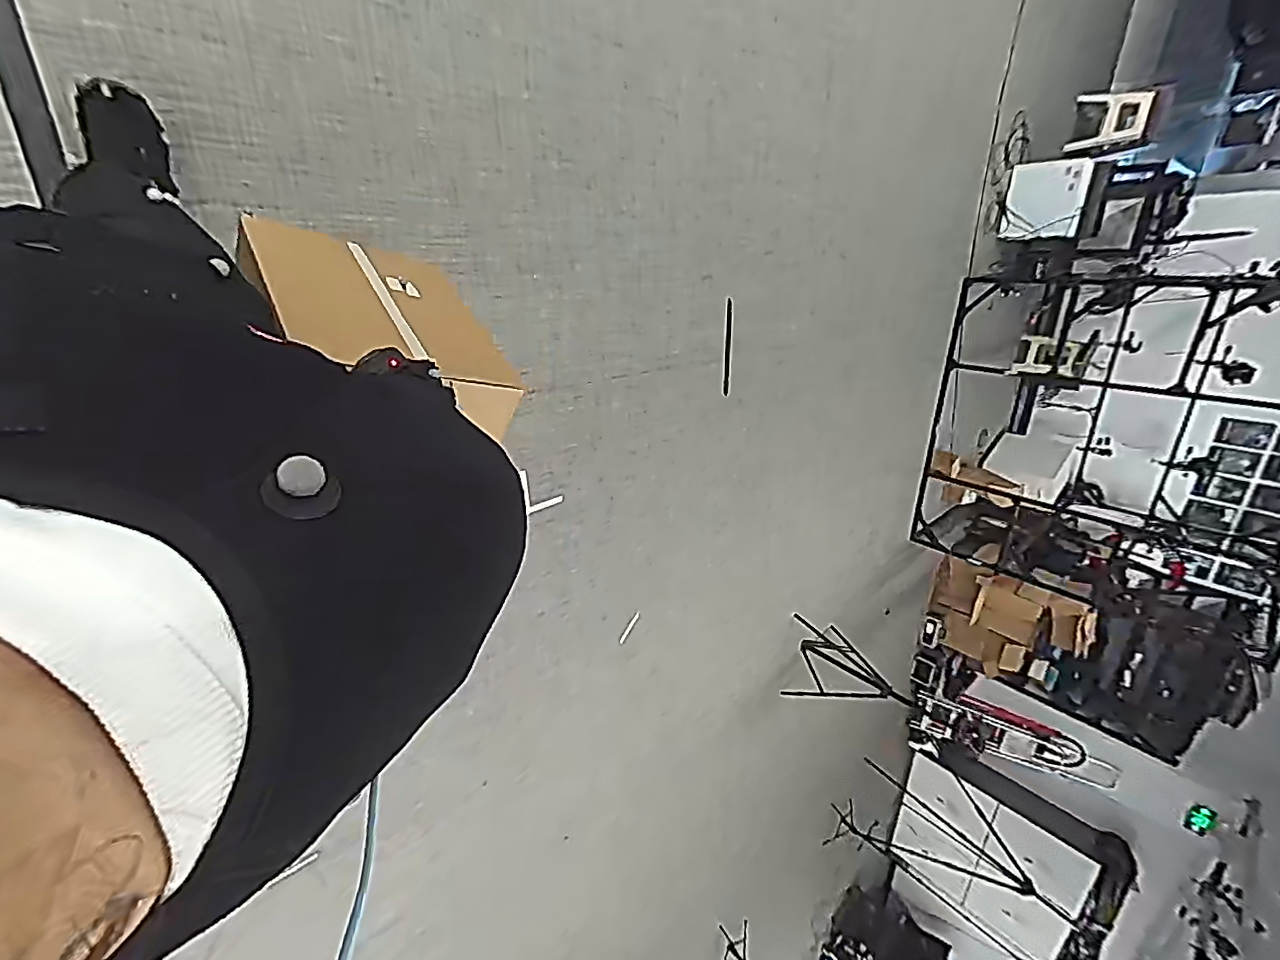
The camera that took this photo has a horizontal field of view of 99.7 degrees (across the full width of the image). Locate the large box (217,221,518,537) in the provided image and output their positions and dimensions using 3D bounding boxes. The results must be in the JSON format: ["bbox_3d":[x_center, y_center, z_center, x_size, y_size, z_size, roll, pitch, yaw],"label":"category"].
[{"bbox_3d":[-0.474,-0.160,0.907,0.320,0.408,0.320,0,131,-48],"label":"large box"}]
